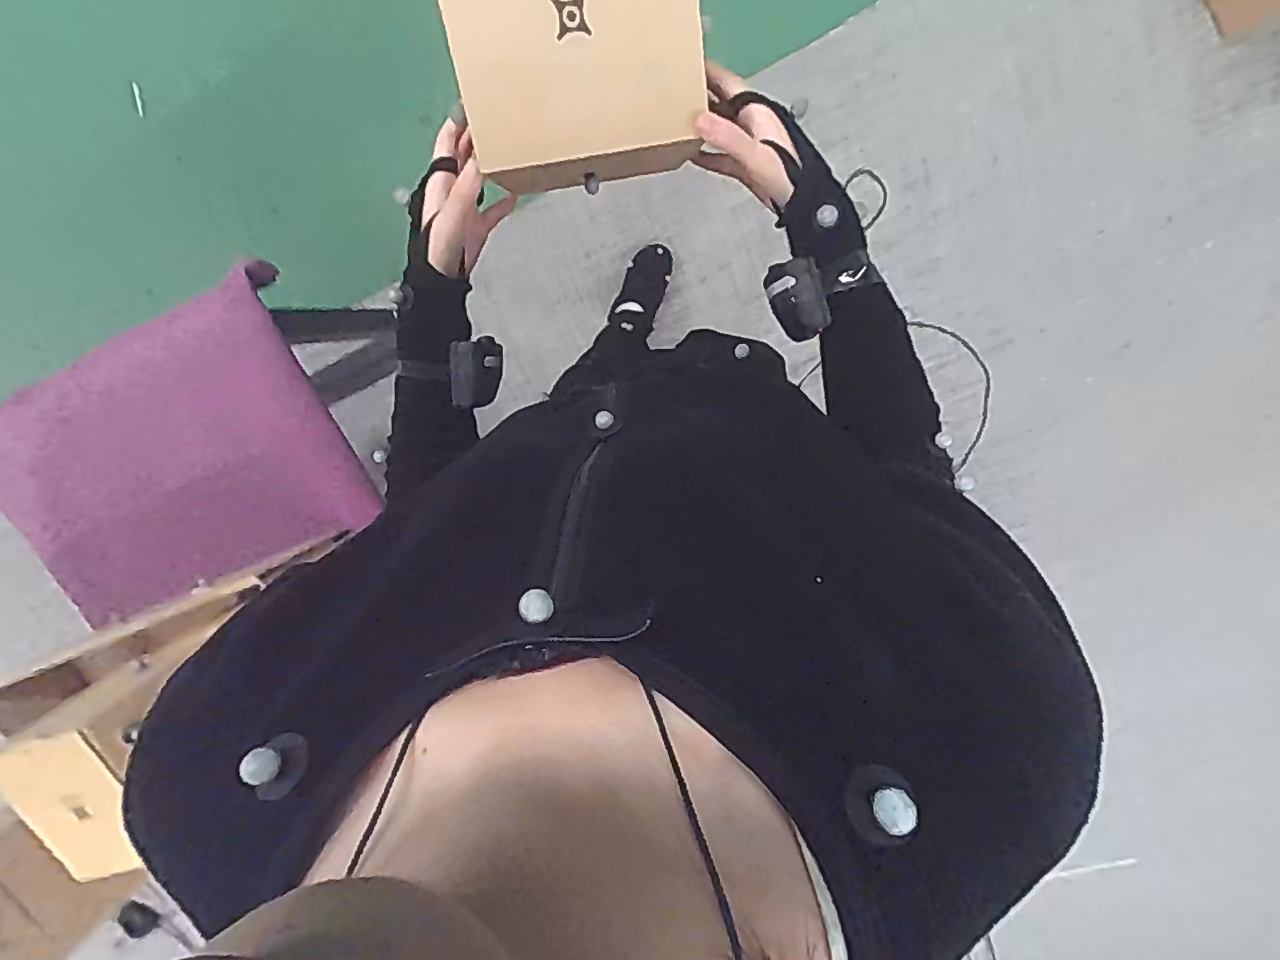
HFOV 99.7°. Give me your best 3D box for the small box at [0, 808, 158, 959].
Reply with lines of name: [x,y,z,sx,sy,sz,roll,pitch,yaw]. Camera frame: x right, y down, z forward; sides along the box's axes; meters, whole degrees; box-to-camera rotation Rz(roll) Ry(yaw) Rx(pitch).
small box: [-0.785,0.508,0.718,0.168,0.176,0.179,-24,103,12]

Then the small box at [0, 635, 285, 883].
small box: [-0.568,0.314,0.627,0.168,0.176,0.179,-20,104,14]

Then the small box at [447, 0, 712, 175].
small box: [-0.045,-0.341,0.409,0.168,0.176,0.179,-9,113,-1]
